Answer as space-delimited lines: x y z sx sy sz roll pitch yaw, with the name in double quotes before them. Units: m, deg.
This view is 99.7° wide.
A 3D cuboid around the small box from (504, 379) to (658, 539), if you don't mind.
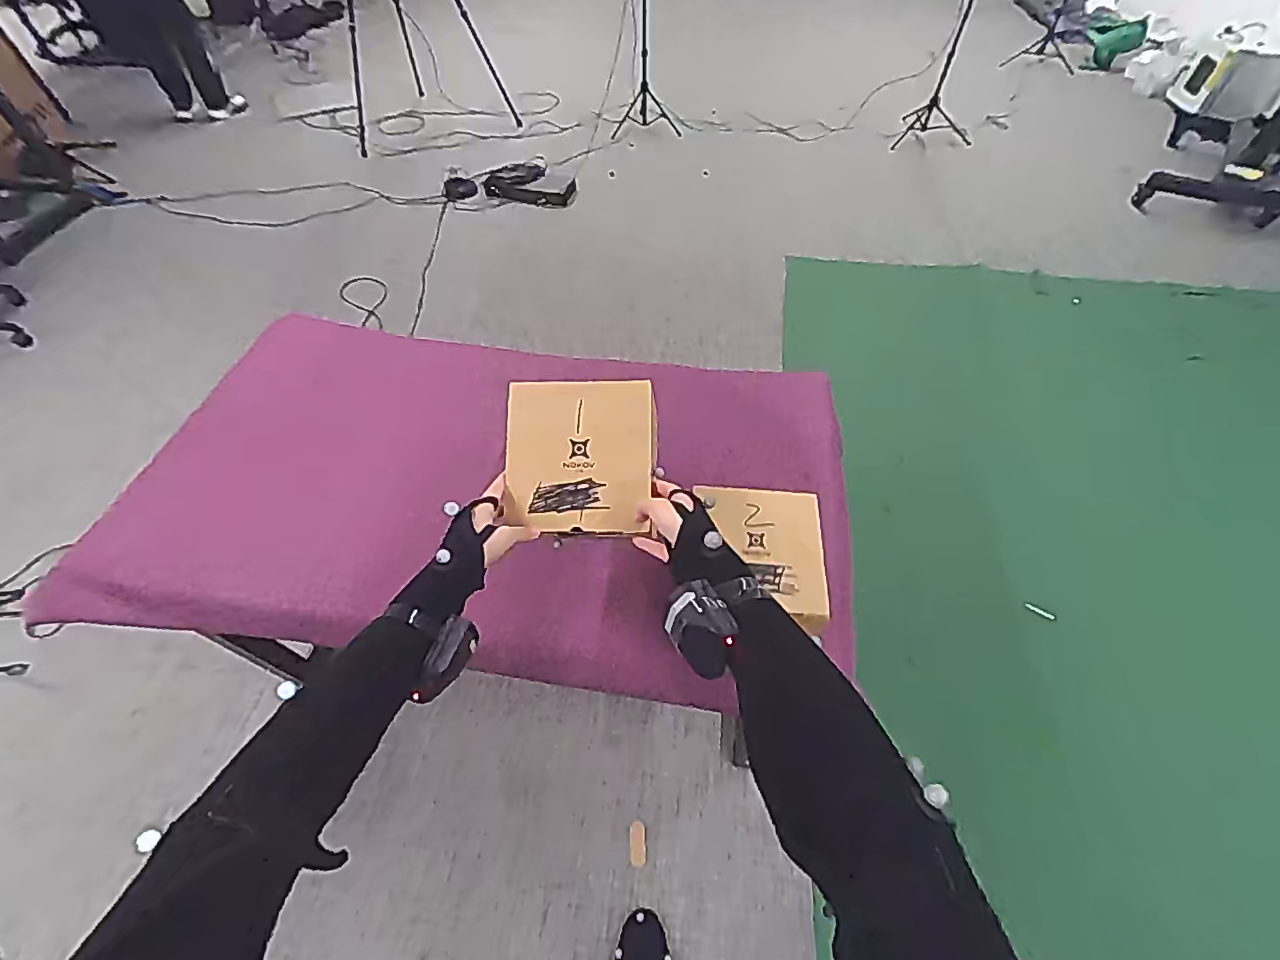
"small box" -0.063 -0.017 0.682 0.168 0.176 0.179 0 80 3
